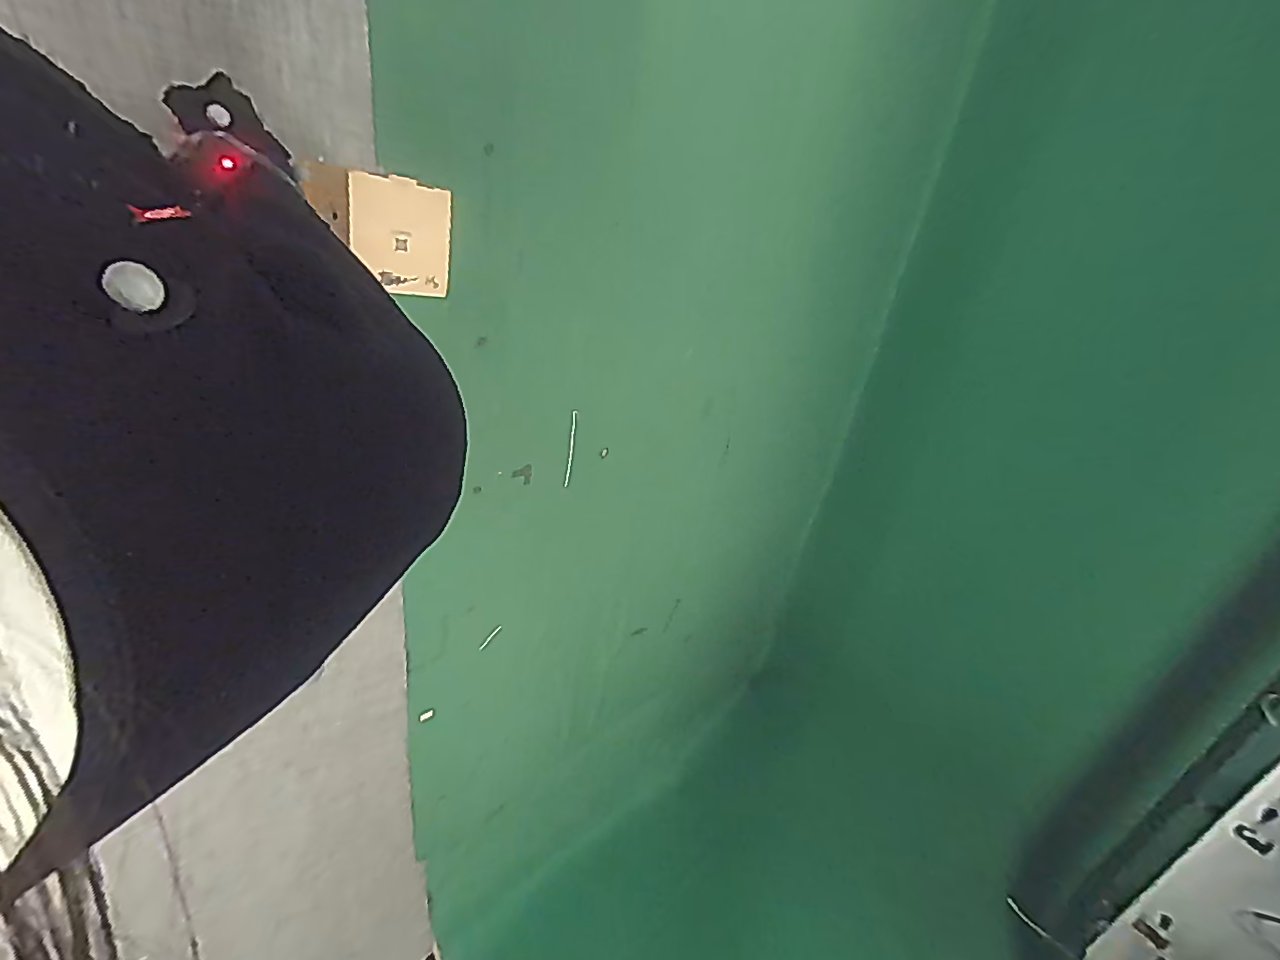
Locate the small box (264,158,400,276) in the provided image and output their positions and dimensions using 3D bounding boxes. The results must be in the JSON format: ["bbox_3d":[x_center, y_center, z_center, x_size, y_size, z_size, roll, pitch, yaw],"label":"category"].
[{"bbox_3d":[-0.575,-0.492,1.014,0.179,0.176,0.168,-13,123,-45],"label":"small box"}]

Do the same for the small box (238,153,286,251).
[{"bbox_3d":[-0.693,-0.559,1.108,0.179,0.176,0.168,-13,123,-44],"label":"small box"}]
